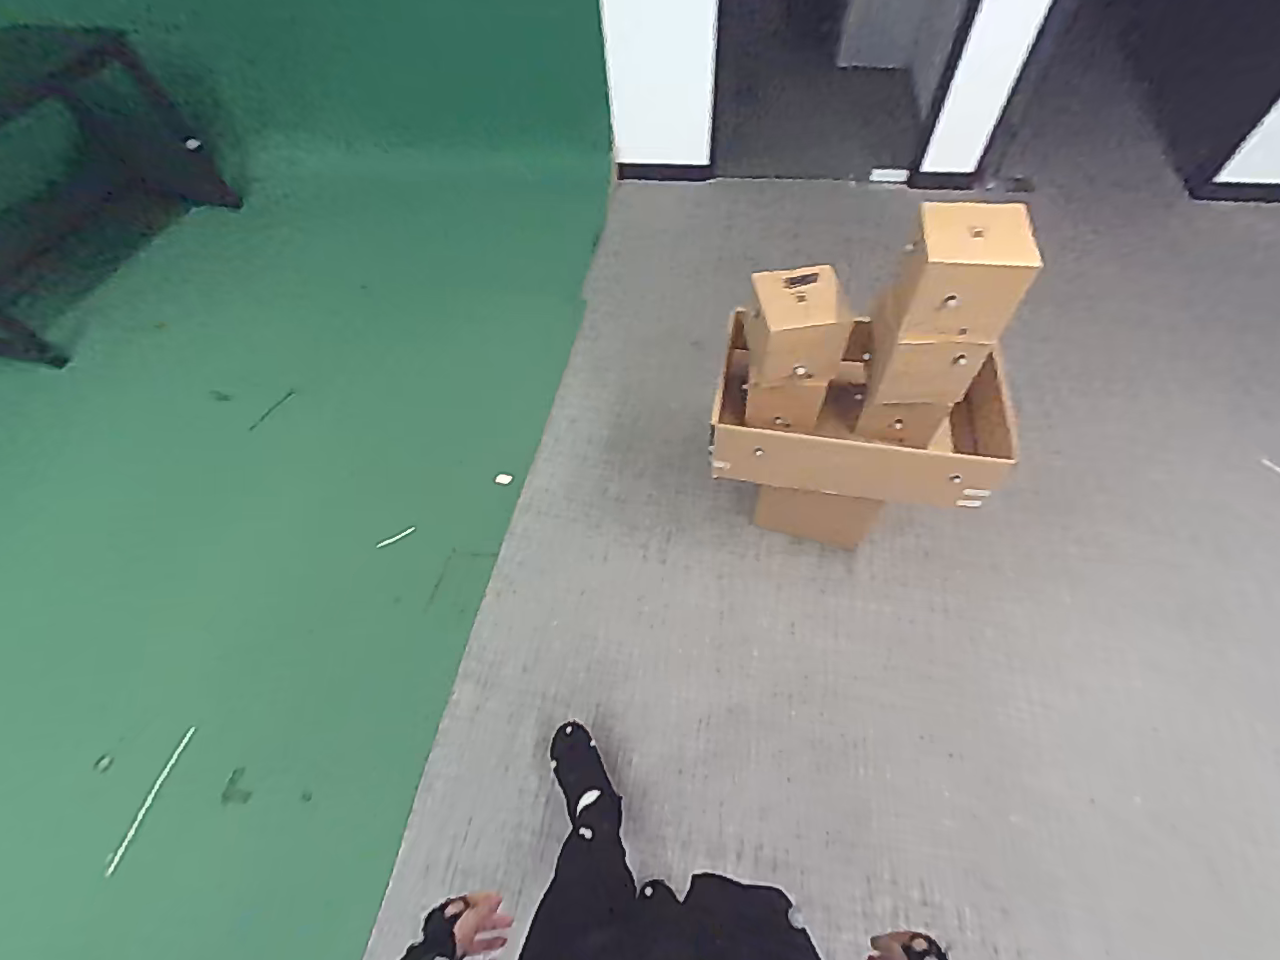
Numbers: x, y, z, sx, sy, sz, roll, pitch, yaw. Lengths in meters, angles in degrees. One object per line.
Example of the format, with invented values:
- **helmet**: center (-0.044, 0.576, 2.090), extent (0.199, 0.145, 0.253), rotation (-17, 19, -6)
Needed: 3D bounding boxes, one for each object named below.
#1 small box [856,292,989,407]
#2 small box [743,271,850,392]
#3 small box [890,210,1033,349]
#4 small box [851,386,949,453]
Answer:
- **small box**: center (0.562, -0.261, 1.100), extent (0.179, 0.176, 0.168), rotation (0, 55, 6)
- **small box**: center (0.320, -0.313, 1.150), extent (0.168, 0.176, 0.179), rotation (-7, 57, 0)
- **small box**: center (0.559, -0.356, 0.968), extent (0.168, 0.176, 0.179), rotation (7, 56, 10)
- **small box**: center (0.599, -0.187, 1.245), extent (0.168, 0.176, 0.179), rotation (16, 60, 14)
